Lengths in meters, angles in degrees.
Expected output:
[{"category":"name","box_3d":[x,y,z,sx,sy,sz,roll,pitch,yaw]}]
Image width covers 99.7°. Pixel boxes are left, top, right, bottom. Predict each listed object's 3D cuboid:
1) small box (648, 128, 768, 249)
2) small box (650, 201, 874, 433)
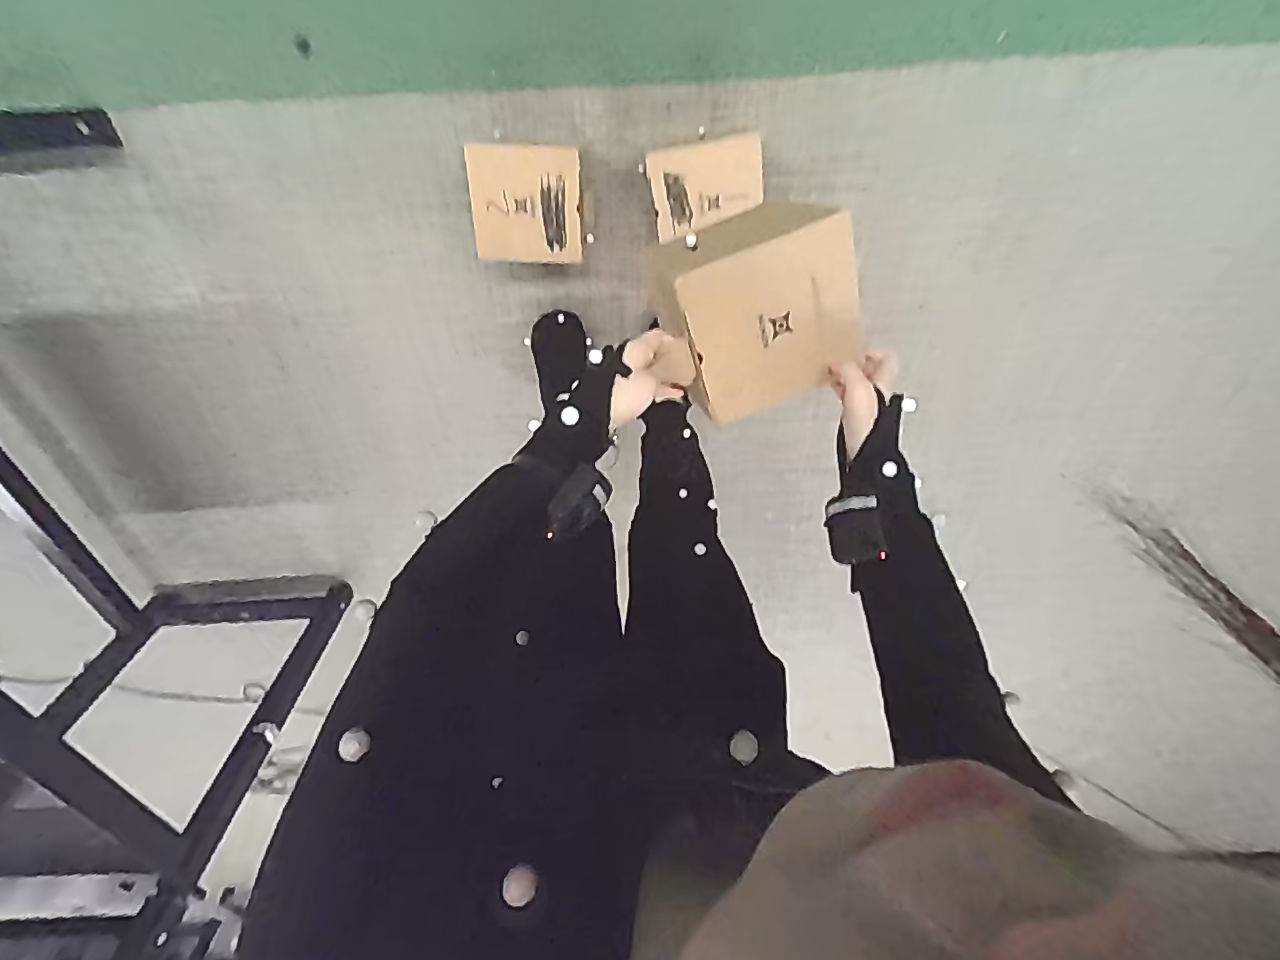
[{"category":"small box","box_3d":[0.111,-0.477,0.906,0.179,0.176,0.168,-9,126,5]},{"category":"small box","box_3d":[0.119,-0.181,0.581,0.179,0.176,0.168,-23,123,0]}]
